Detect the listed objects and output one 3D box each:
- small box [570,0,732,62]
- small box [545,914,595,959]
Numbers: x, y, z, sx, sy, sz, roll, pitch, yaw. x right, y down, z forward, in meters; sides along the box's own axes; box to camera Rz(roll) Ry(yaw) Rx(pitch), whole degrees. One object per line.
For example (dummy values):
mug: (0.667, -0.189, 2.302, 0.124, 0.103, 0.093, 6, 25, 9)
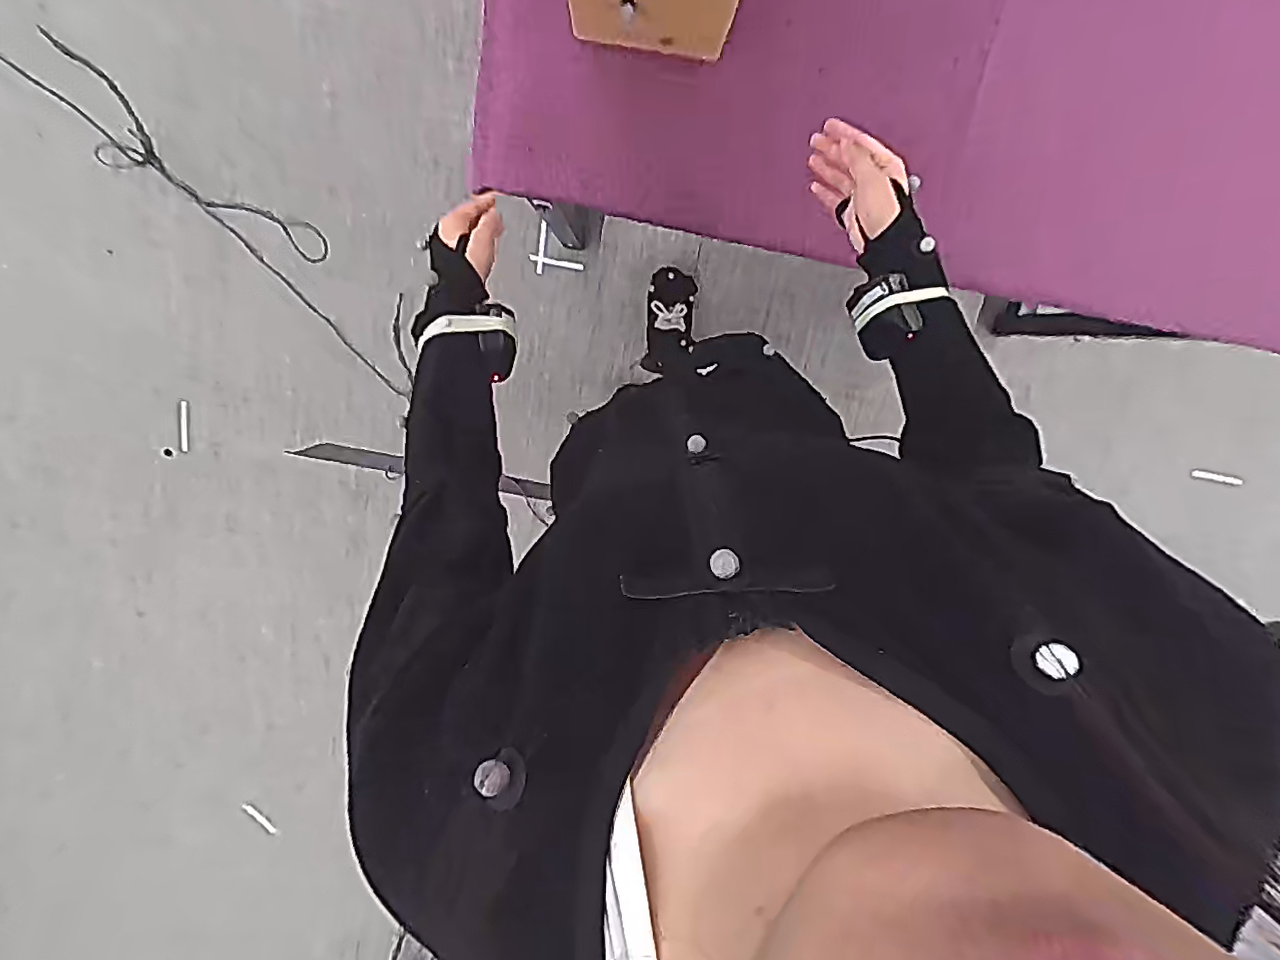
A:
small box: (0.019, -0.547, 0.521, 0.168, 0.176, 0.179, 7, 105, -4)
small box: (-0.248, 1.674, 1.904, 0.168, 0.176, 0.179, 6, 107, -3)
